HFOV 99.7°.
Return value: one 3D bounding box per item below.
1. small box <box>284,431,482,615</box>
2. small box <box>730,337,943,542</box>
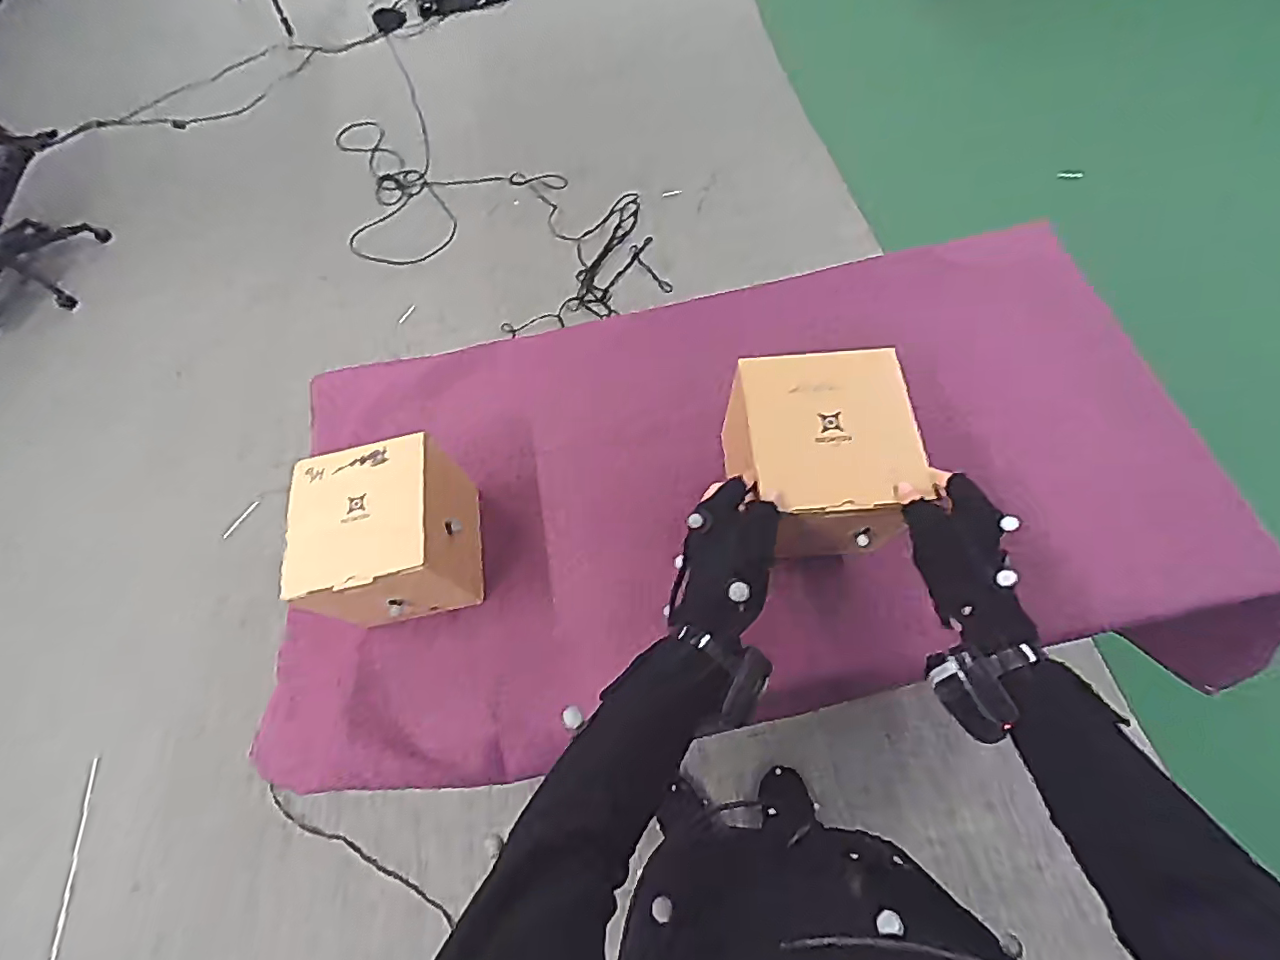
[{"bbox_3d":[-0.312,0.066,0.690,0.168,0.176,0.179,-13,65,2],"label":"small box"},{"bbox_3d":[0.199,-0.033,0.604,0.168,0.176,0.179,-4,67,0],"label":"small box"}]
